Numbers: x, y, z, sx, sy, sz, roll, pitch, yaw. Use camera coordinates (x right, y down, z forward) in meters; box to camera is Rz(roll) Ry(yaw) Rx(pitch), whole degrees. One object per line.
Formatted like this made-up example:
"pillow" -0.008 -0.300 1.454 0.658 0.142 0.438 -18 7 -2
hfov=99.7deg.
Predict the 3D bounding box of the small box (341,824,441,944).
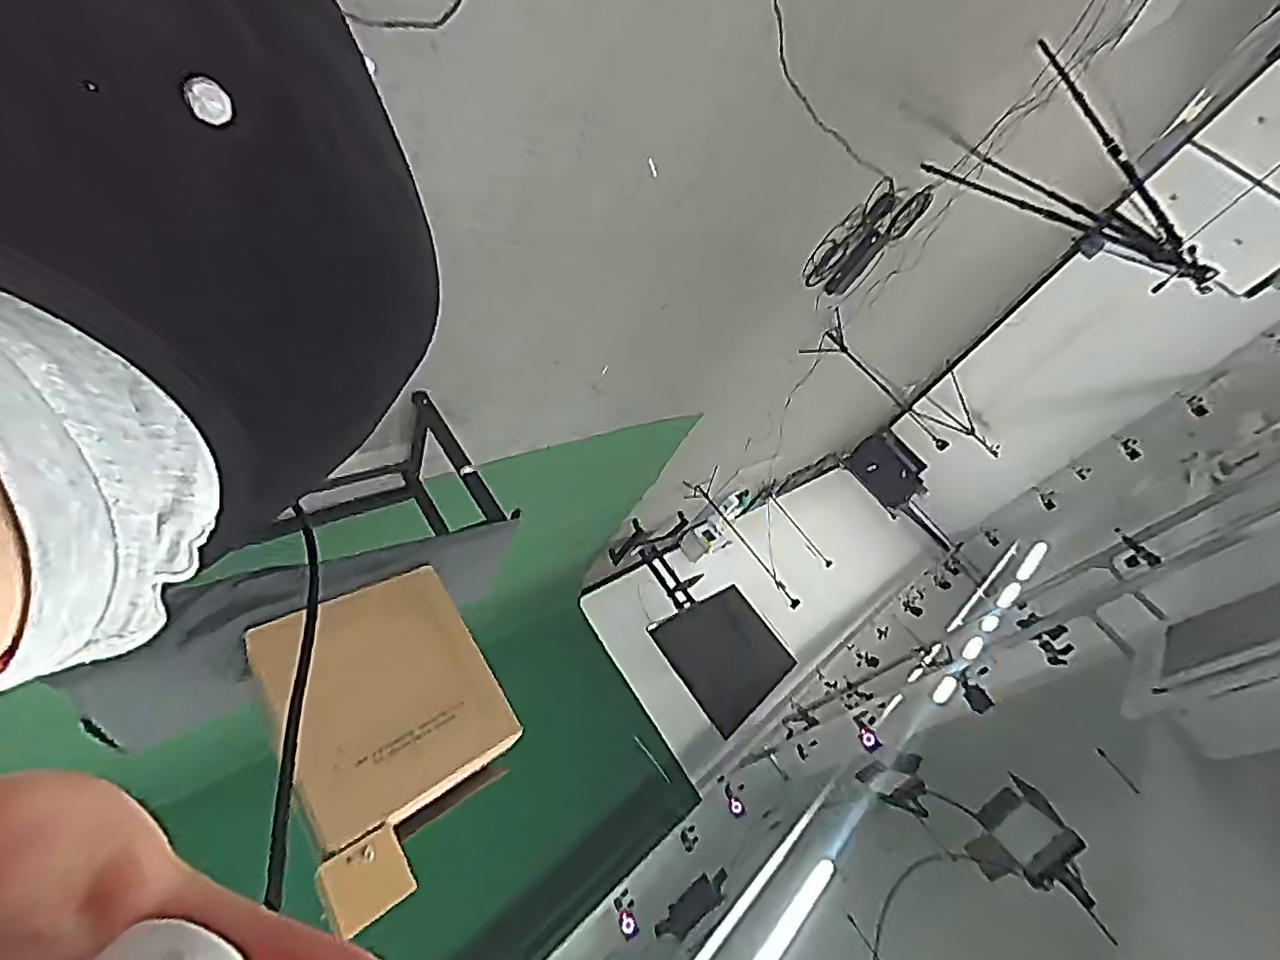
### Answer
"small box" -0.619 0.991 1.335 0.168 0.176 0.179 -21 153 -42
